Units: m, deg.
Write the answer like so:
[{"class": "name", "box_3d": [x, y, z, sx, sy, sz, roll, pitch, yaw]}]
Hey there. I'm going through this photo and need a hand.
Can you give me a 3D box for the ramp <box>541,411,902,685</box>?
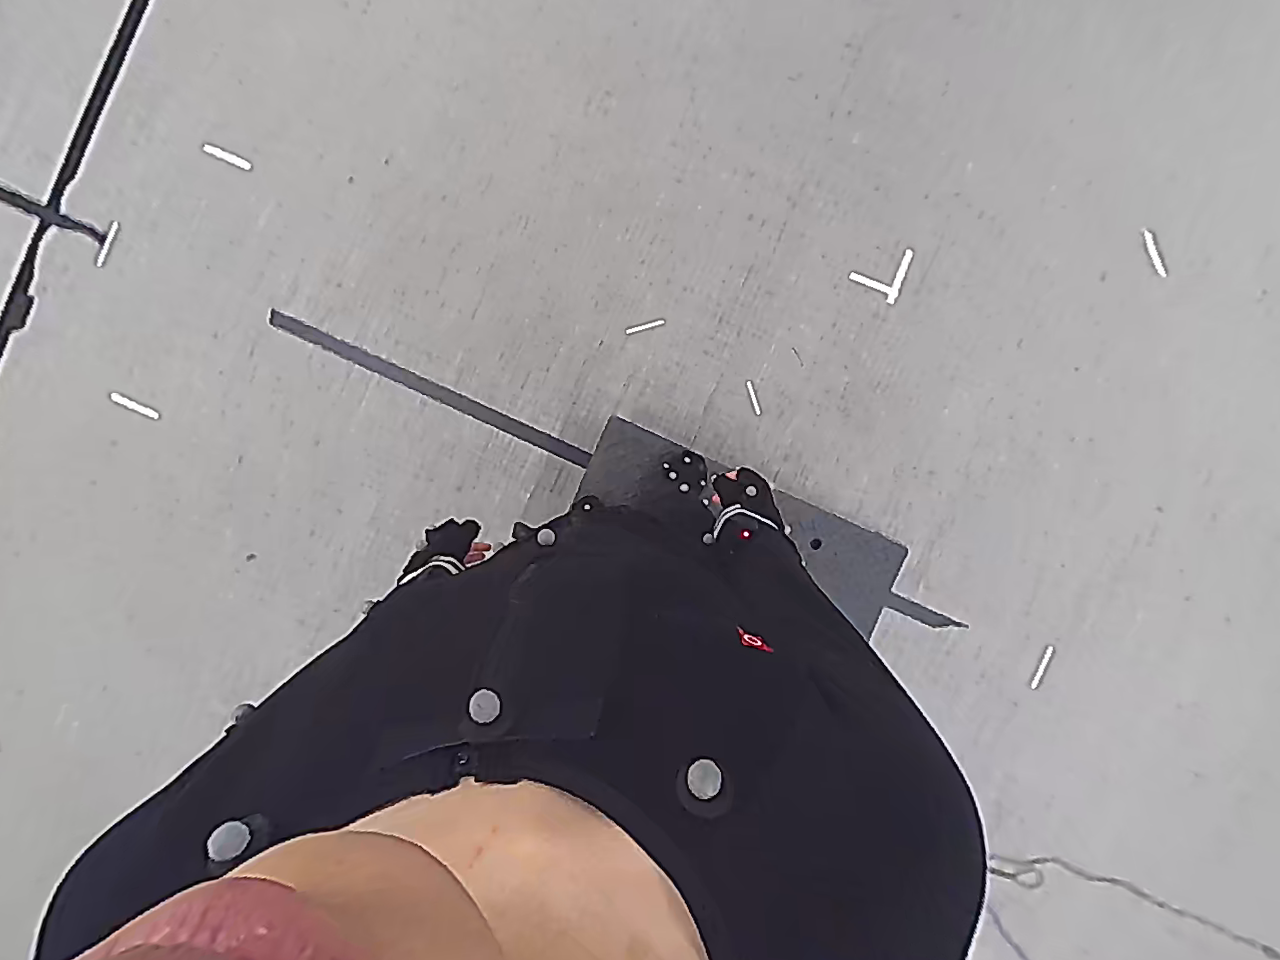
[{"class": "ramp", "box_3d": [0.267, 0.219, 1.566, 0.991, 0.206, 0.509, 21, 89, -1]}]
